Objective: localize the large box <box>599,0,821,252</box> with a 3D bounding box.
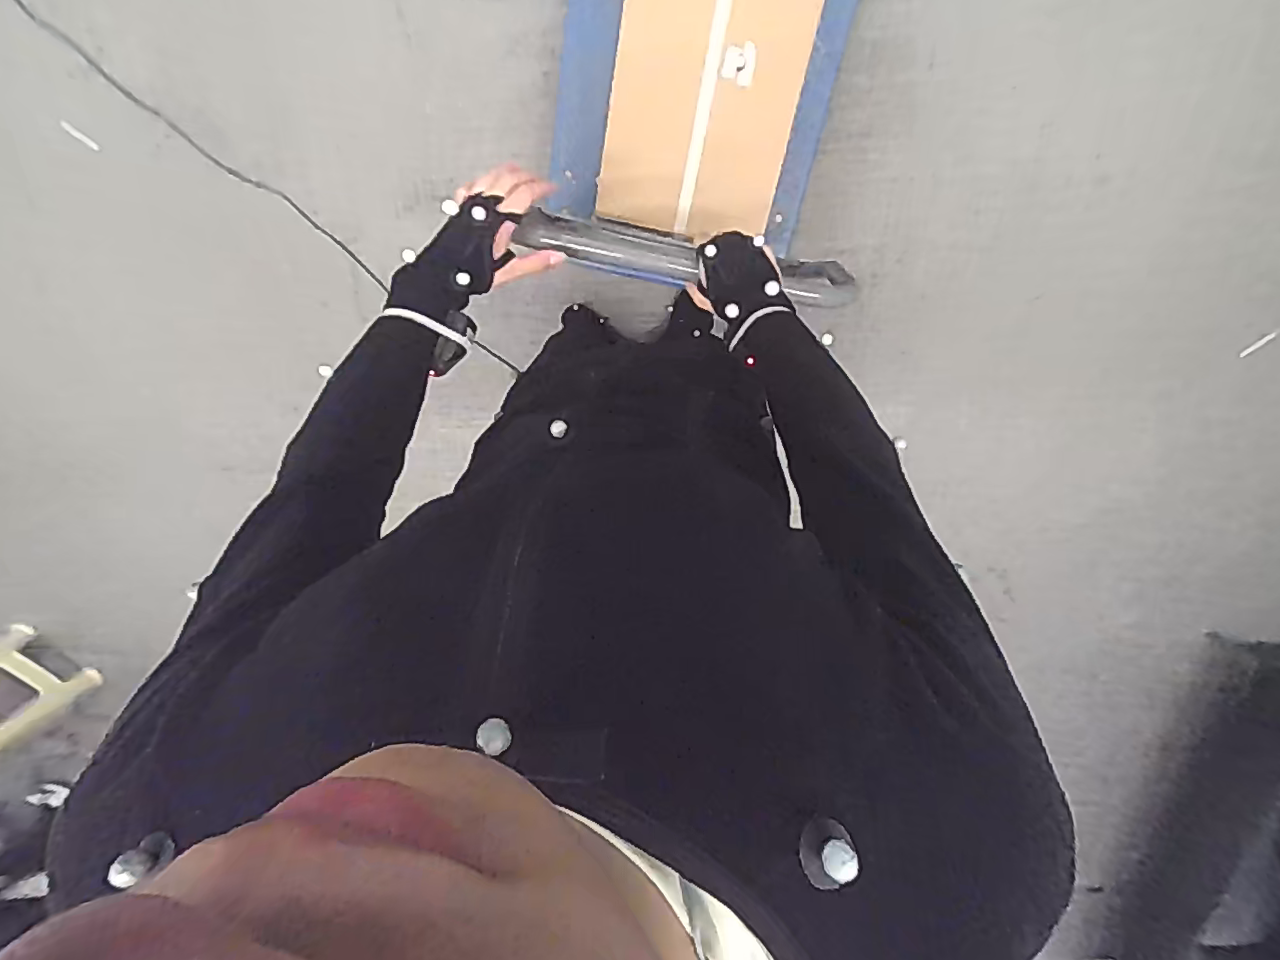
[{"bbox_3d":[0.113,-0.685,1.057,0.320,0.320,0.408,11,112,-3],"label":"large box"}]
